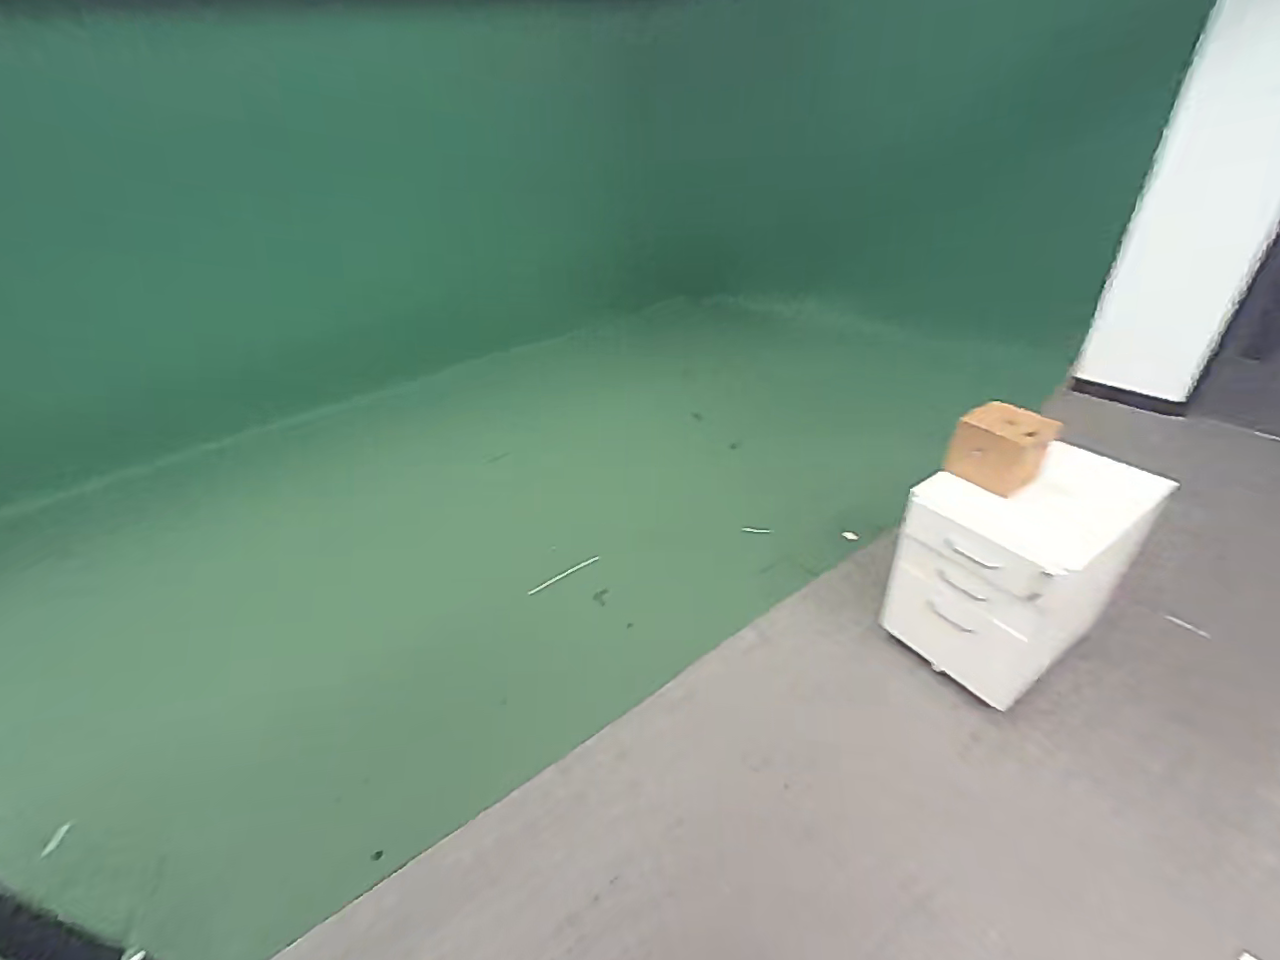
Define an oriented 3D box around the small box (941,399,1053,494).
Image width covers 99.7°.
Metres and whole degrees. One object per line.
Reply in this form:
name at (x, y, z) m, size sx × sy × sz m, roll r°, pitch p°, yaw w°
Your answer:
small box at (0.943, -0.089, 1.446) m, size 0.168 × 0.176 × 0.179 m, roll -25°, pitch 40°, yaw -24°
